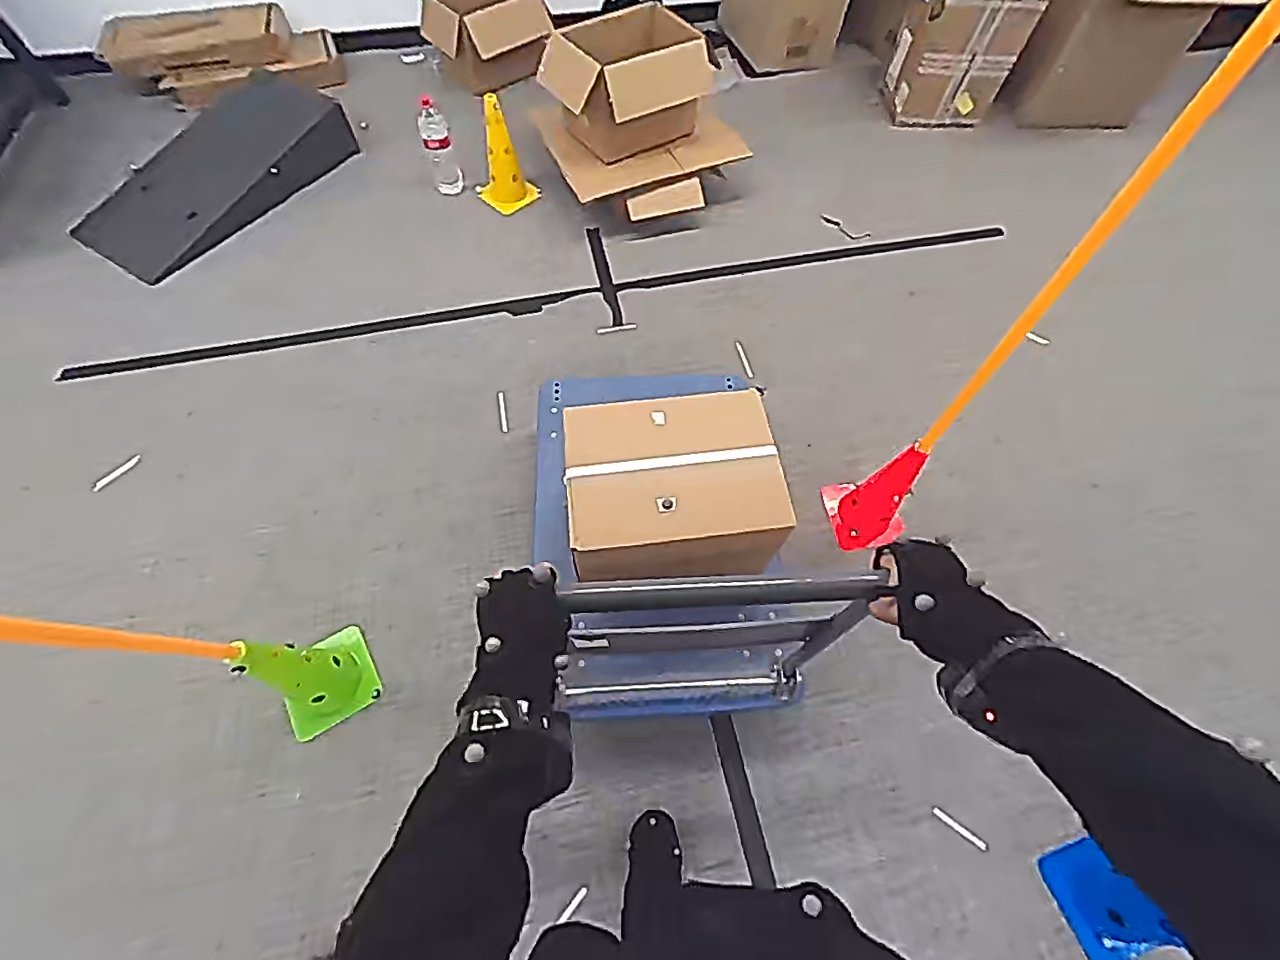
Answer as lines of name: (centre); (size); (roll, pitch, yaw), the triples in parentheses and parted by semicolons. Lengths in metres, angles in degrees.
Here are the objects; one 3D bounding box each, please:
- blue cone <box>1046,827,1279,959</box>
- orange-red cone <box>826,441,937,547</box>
blue cone: (0.963, 0.767, 0.968); (0.193, 0.380, 0.192); (-14, 61, -9)
orange-red cone: (0.638, 0.010, 1.358); (0.199, 0.360, 0.198); (-5, 62, -5)
